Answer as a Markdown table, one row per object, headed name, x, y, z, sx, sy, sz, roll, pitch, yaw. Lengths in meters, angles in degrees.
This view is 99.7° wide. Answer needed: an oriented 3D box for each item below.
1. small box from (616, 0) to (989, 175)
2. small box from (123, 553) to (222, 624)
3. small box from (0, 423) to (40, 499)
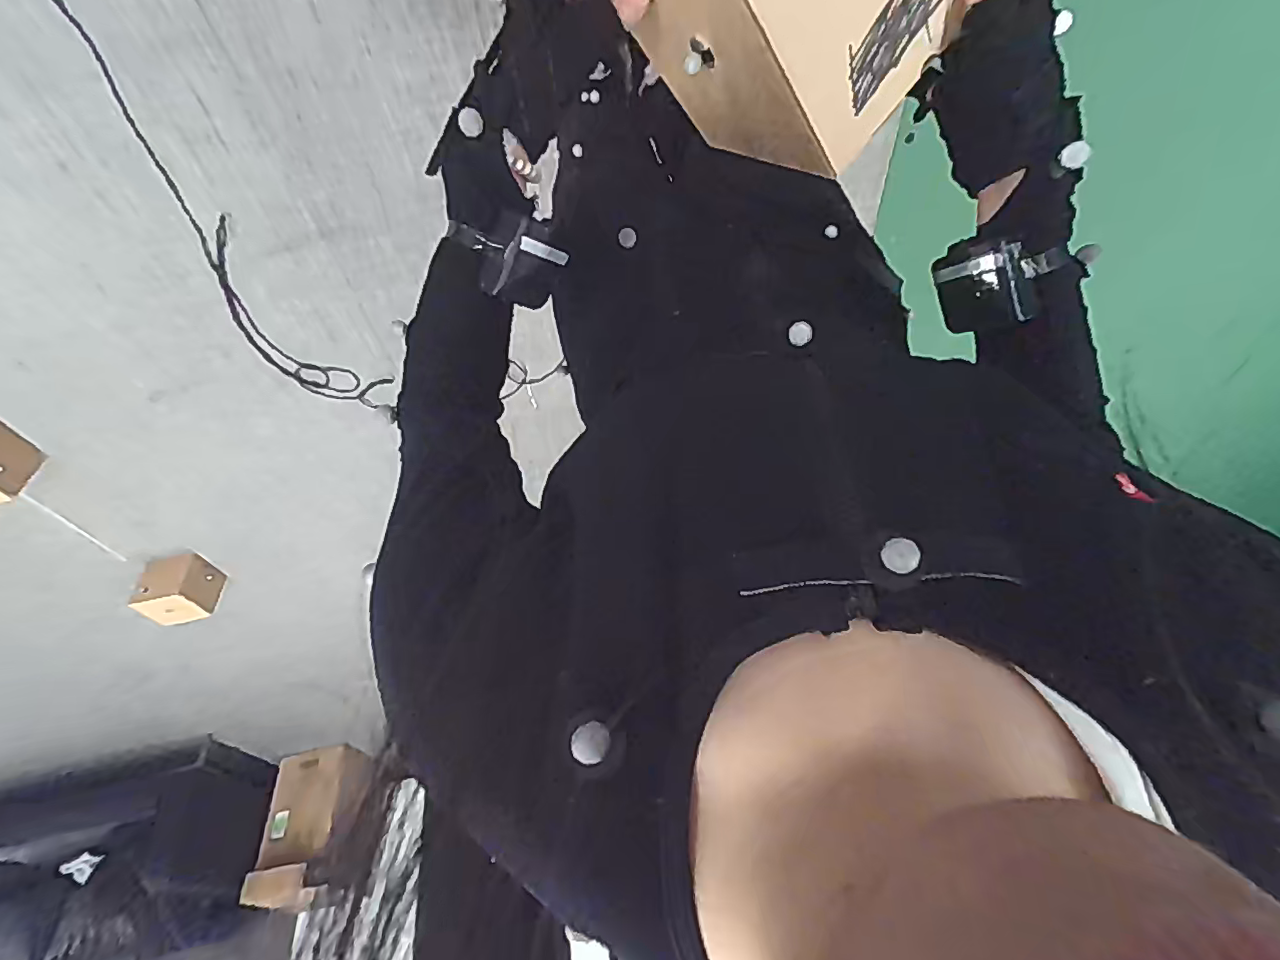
| name | x | y | z | sx | sy | sz | roll | pitch | yaw |
| --- | --- | --- | --- | --- | --- | --- | --- | --- | --- |
| small box | 0.094 | -0.335 | 0.335 | 0.179 | 0.176 | 0.168 | 28 | 108 | -42 |
| small box | -1.628 | 0.378 | 1.896 | 0.179 | 0.176 | 0.168 | -12 | 140 | -1 |
| small box | -1.722 | -0.055 | 1.373 | 0.168 | 0.176 | 0.179 | -12 | 140 | -2 |
